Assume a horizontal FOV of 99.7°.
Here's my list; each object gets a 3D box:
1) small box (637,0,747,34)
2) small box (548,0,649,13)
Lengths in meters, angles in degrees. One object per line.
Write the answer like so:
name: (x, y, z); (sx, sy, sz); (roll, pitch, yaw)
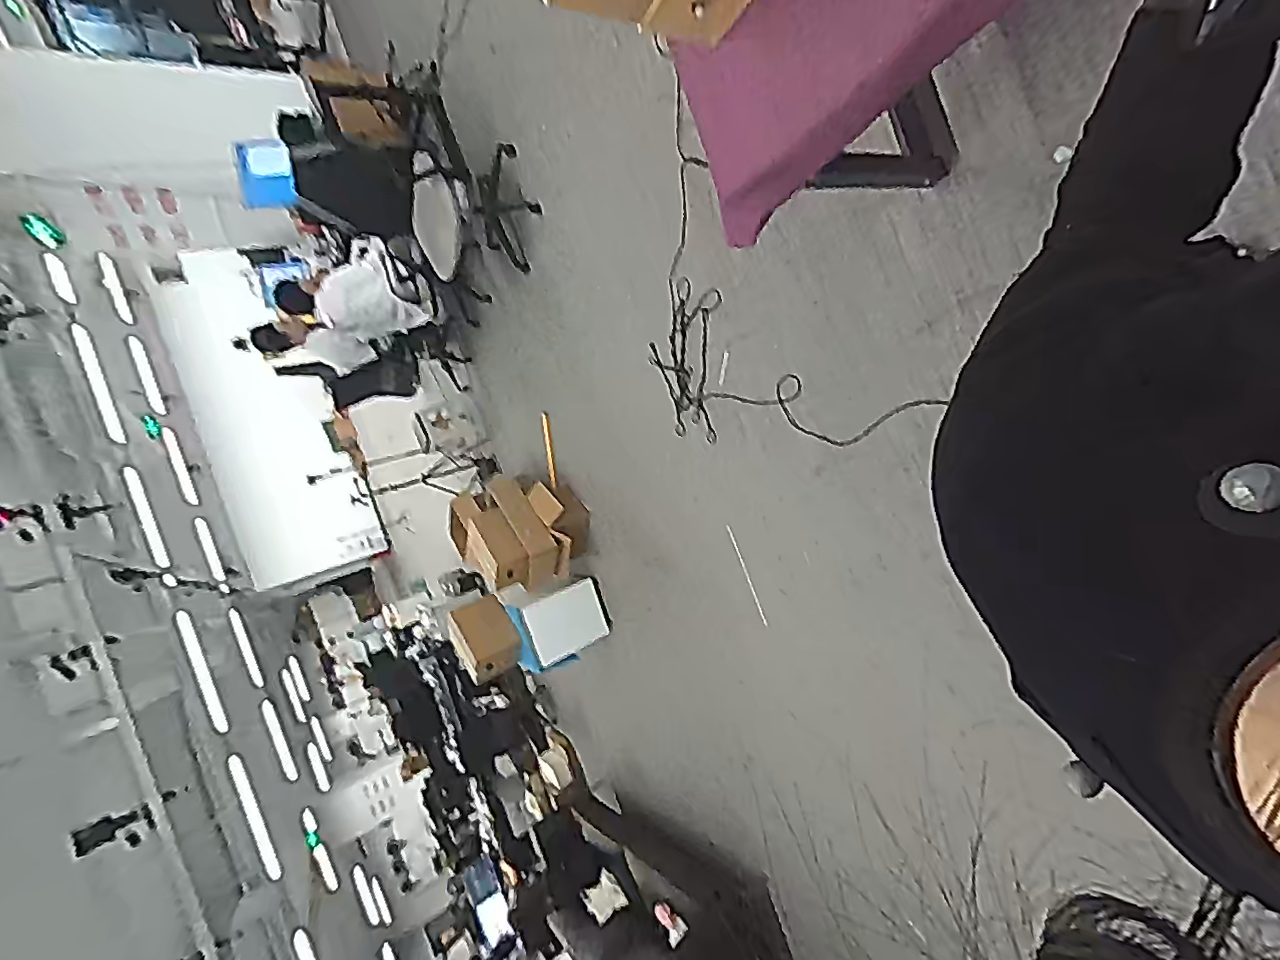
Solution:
small box: (0.085, -0.803, 0.796); (0.168, 0.176, 0.179); (-14, 94, 58)
small box: (-0.050, -0.764, 0.710); (0.168, 0.176, 0.179); (-24, 87, 58)
